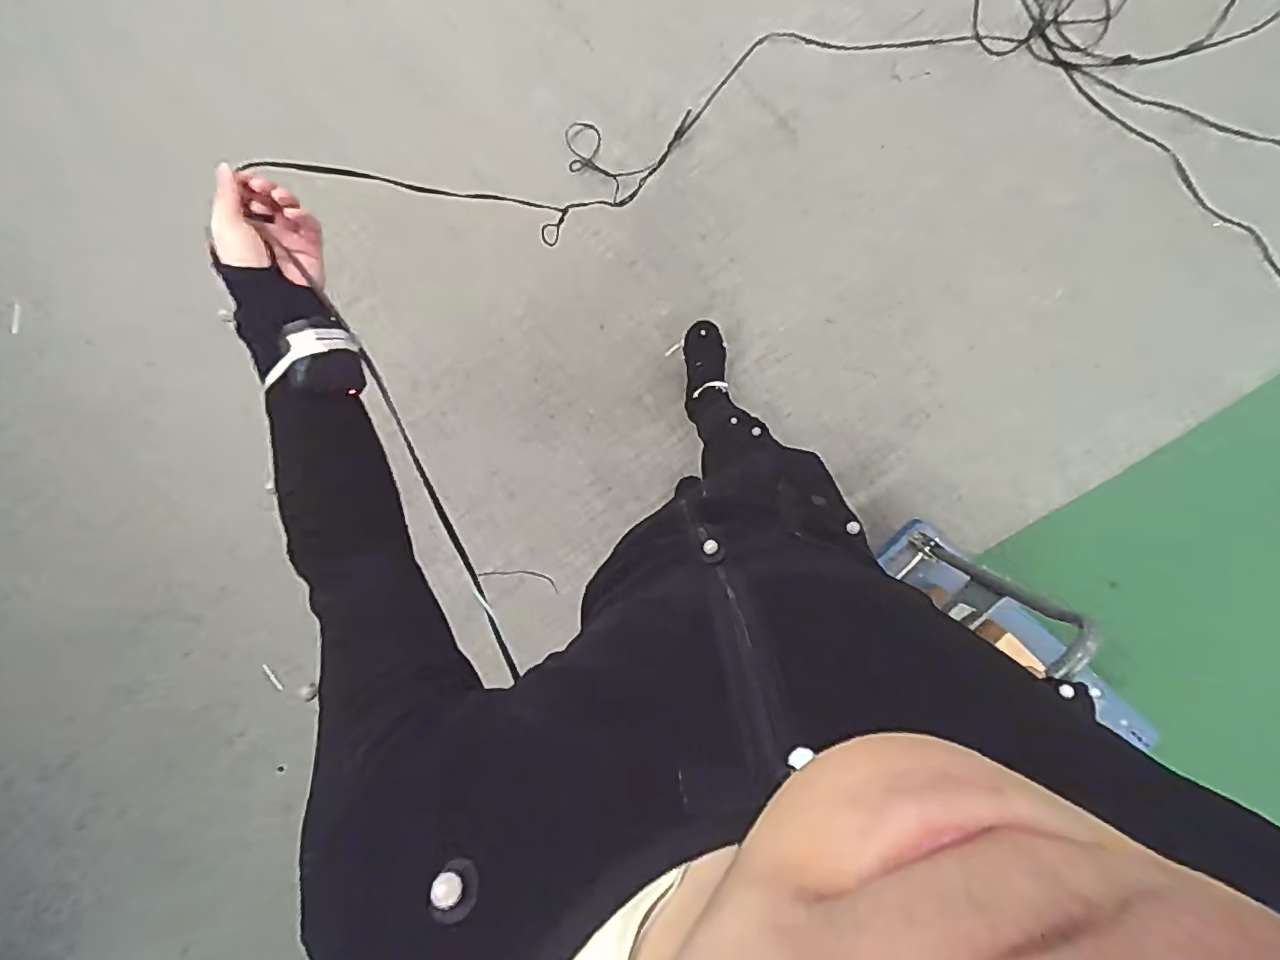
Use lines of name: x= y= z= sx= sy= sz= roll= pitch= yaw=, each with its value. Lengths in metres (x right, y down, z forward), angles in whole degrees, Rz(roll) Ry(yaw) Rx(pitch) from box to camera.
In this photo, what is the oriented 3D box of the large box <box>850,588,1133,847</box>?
large box: x=0.792 y=0.534 z=1.286 sx=0.408 sy=0.320 sz=0.320 roll=44 pitch=98 yaw=-3
